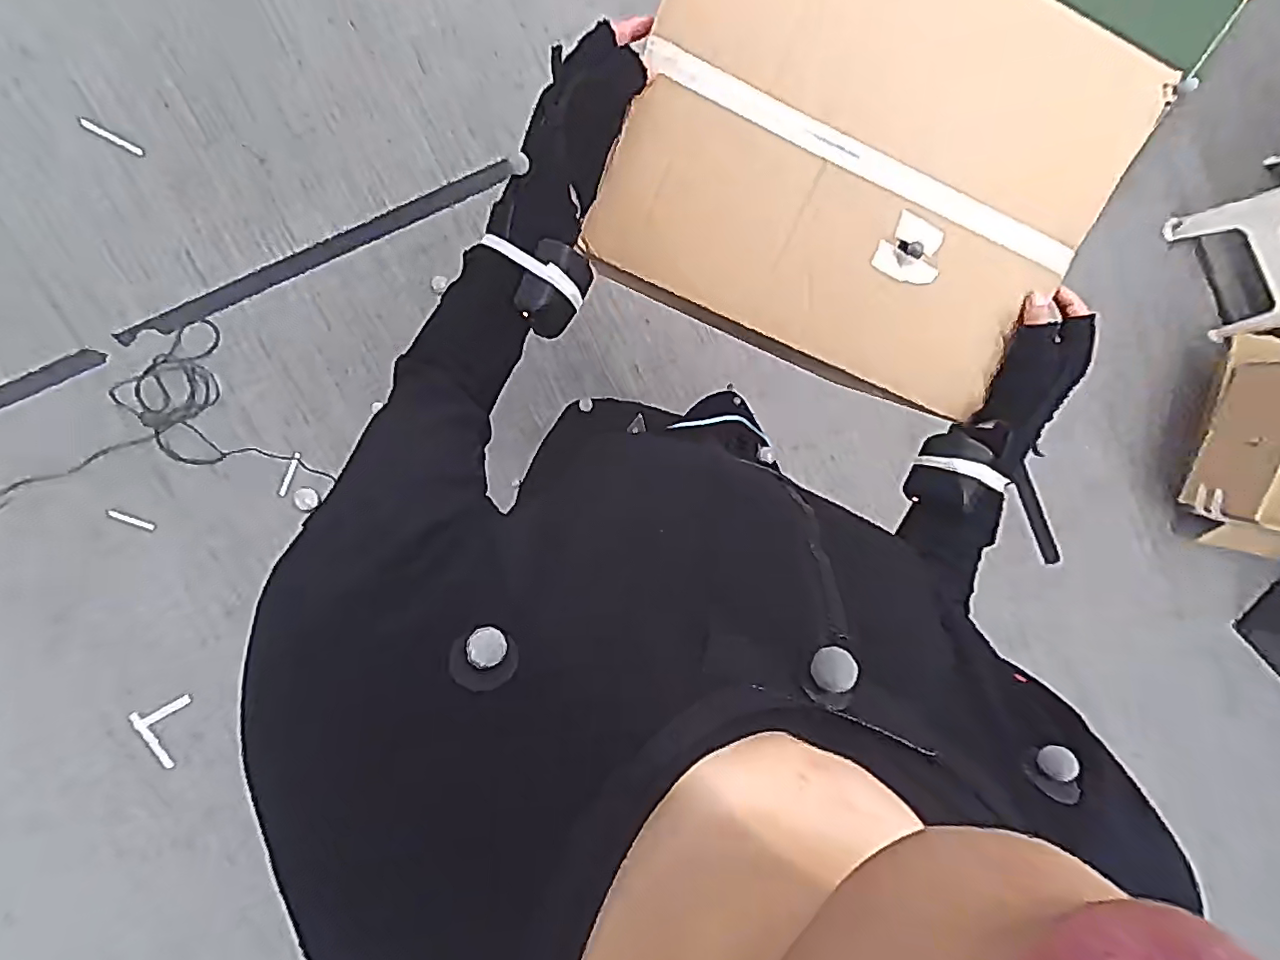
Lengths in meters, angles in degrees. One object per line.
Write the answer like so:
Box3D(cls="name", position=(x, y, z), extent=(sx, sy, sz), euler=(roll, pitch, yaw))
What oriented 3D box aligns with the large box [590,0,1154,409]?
Box3D(cls="large box", position=(0.187, -0.316, 0.606), extent=(0.408, 0.320, 0.320), euler=(22, 106, -9))
